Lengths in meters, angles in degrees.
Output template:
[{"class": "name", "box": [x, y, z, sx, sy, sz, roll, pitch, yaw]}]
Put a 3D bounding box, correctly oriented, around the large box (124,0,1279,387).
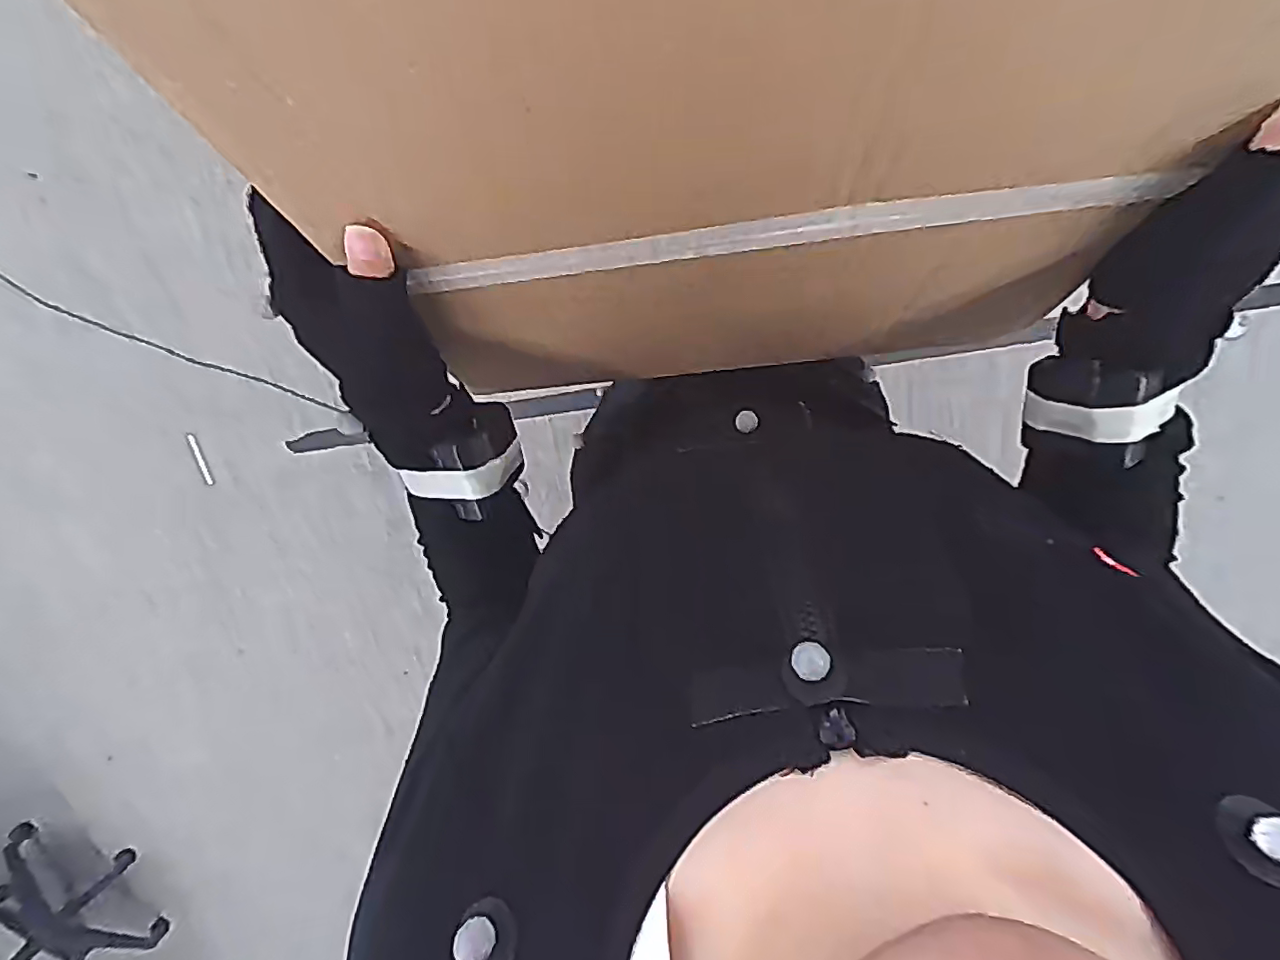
[{"class": "large box", "box": [0.045, -0.272, 0.302, 0.408, 0.320, 0.320, -5, 77, 4]}]
